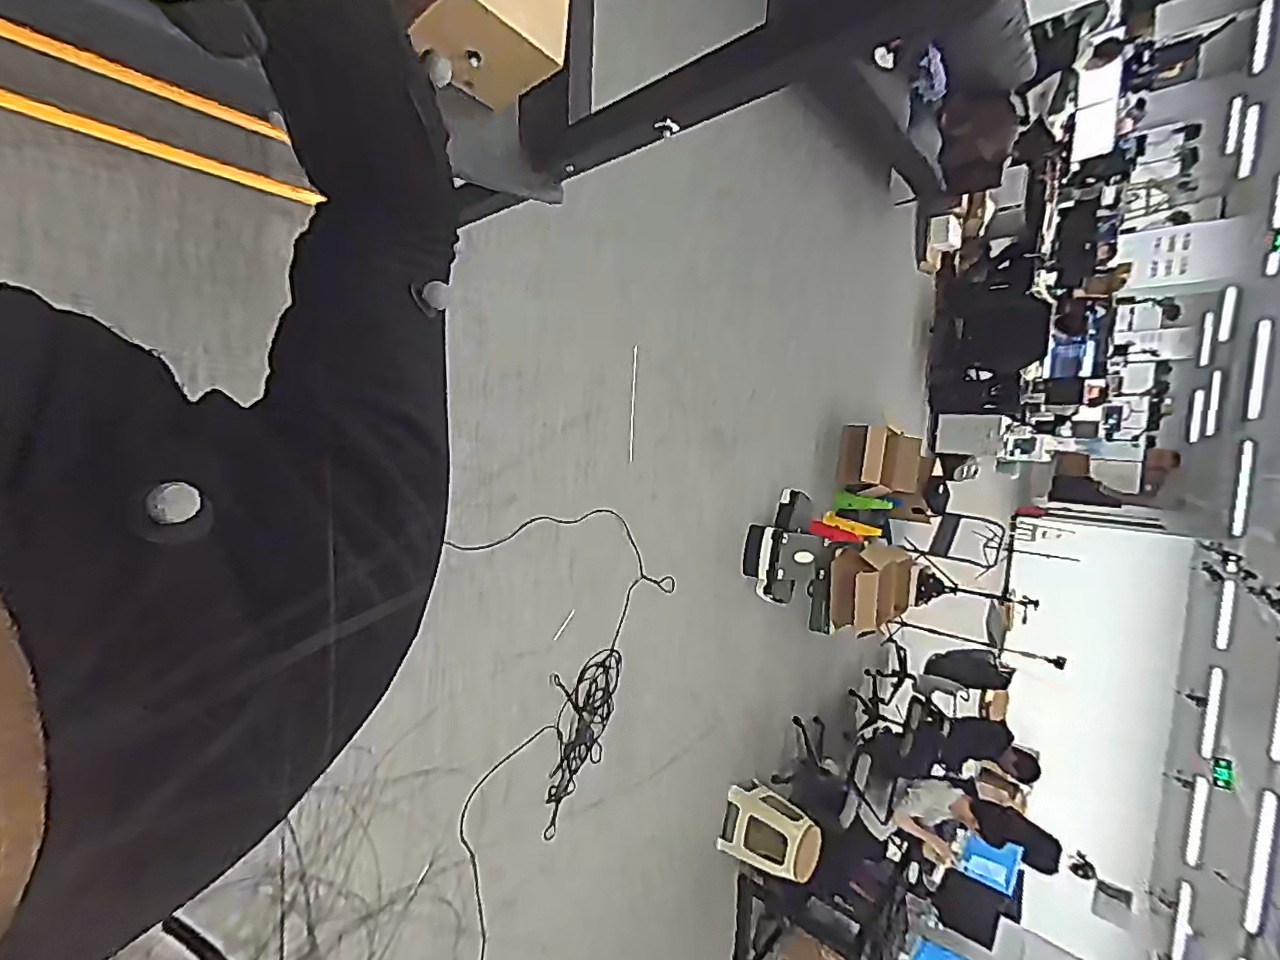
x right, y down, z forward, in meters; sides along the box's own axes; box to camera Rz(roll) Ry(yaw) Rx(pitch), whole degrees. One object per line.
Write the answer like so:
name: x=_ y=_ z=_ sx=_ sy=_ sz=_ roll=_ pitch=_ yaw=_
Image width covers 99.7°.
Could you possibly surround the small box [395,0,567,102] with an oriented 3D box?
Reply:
small box: x=-0.215 y=-0.665 z=0.734 sx=0.168 sy=0.176 sz=0.179 roll=3 pitch=92 yaw=-49
